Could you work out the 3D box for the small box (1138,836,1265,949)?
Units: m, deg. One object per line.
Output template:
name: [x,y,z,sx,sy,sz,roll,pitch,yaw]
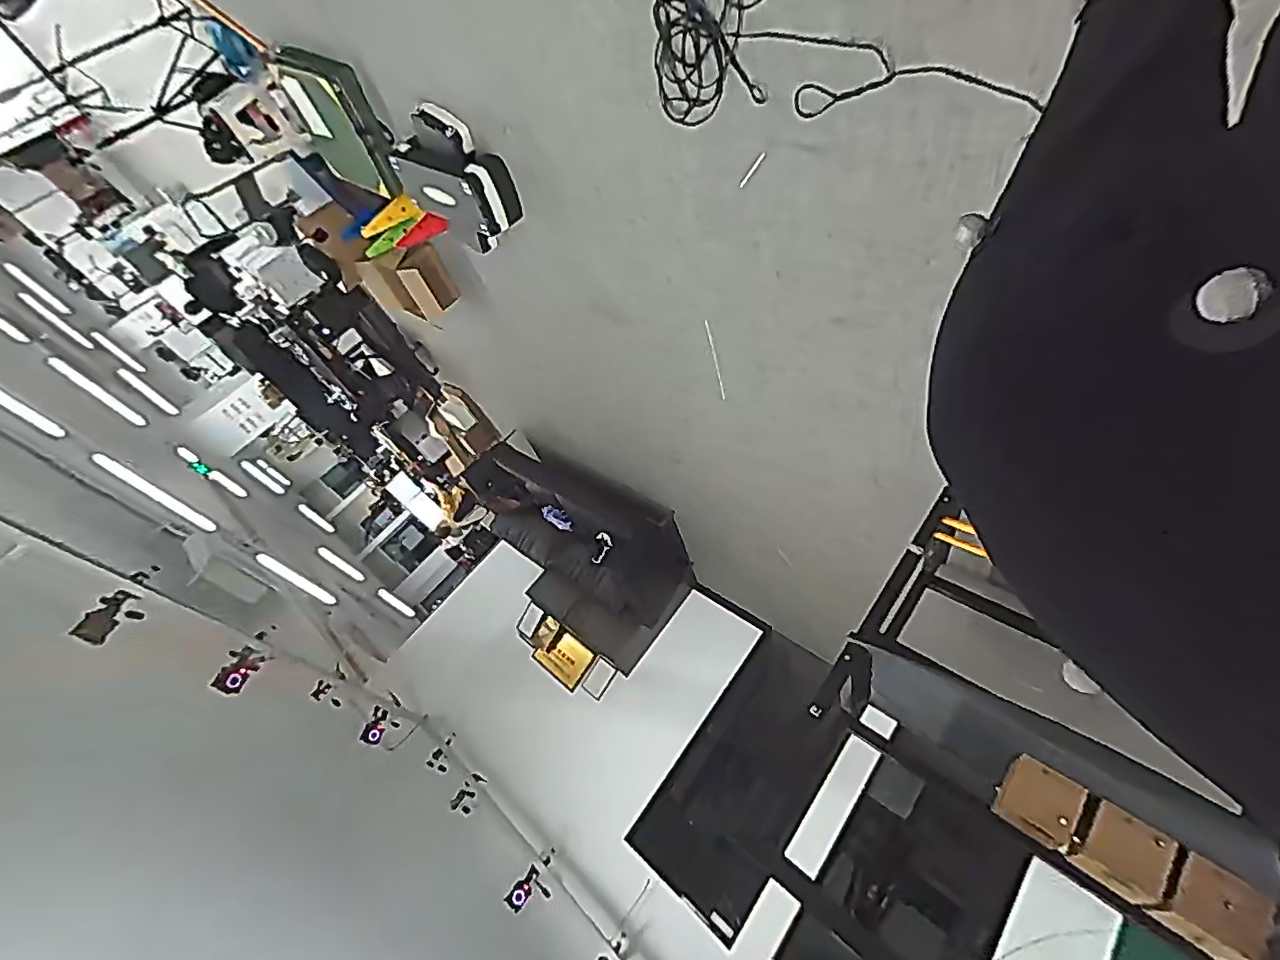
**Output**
small box: [1.457,1.059,1.404,0.168,0.176,0.179,29,158,33]
